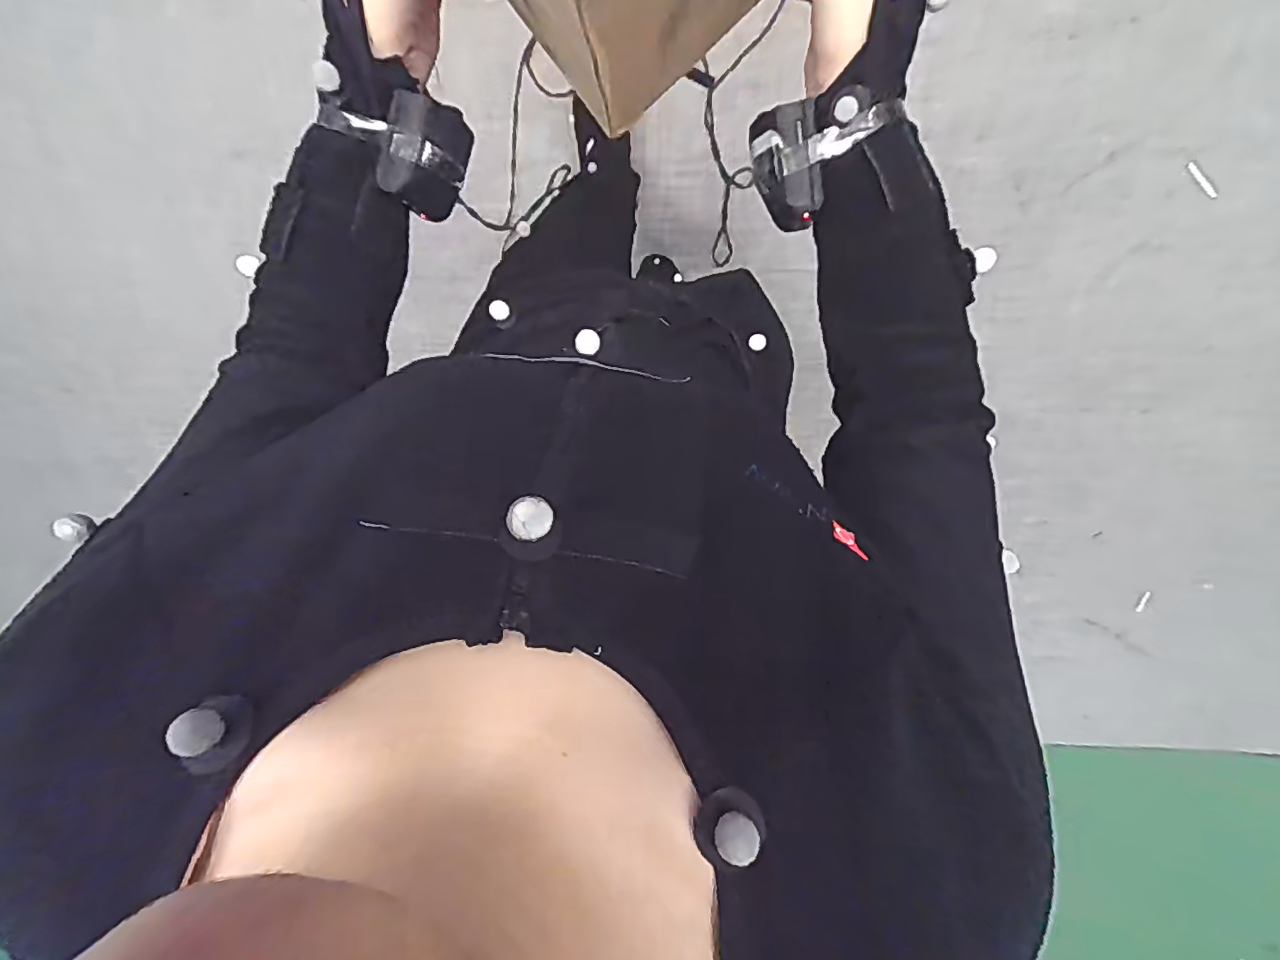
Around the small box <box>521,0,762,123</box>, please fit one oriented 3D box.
[{"bbox_3d":[-0.006,-0.337,0.279,0.179,0.176,0.168,-38,99,12],"label":"small box"}]
